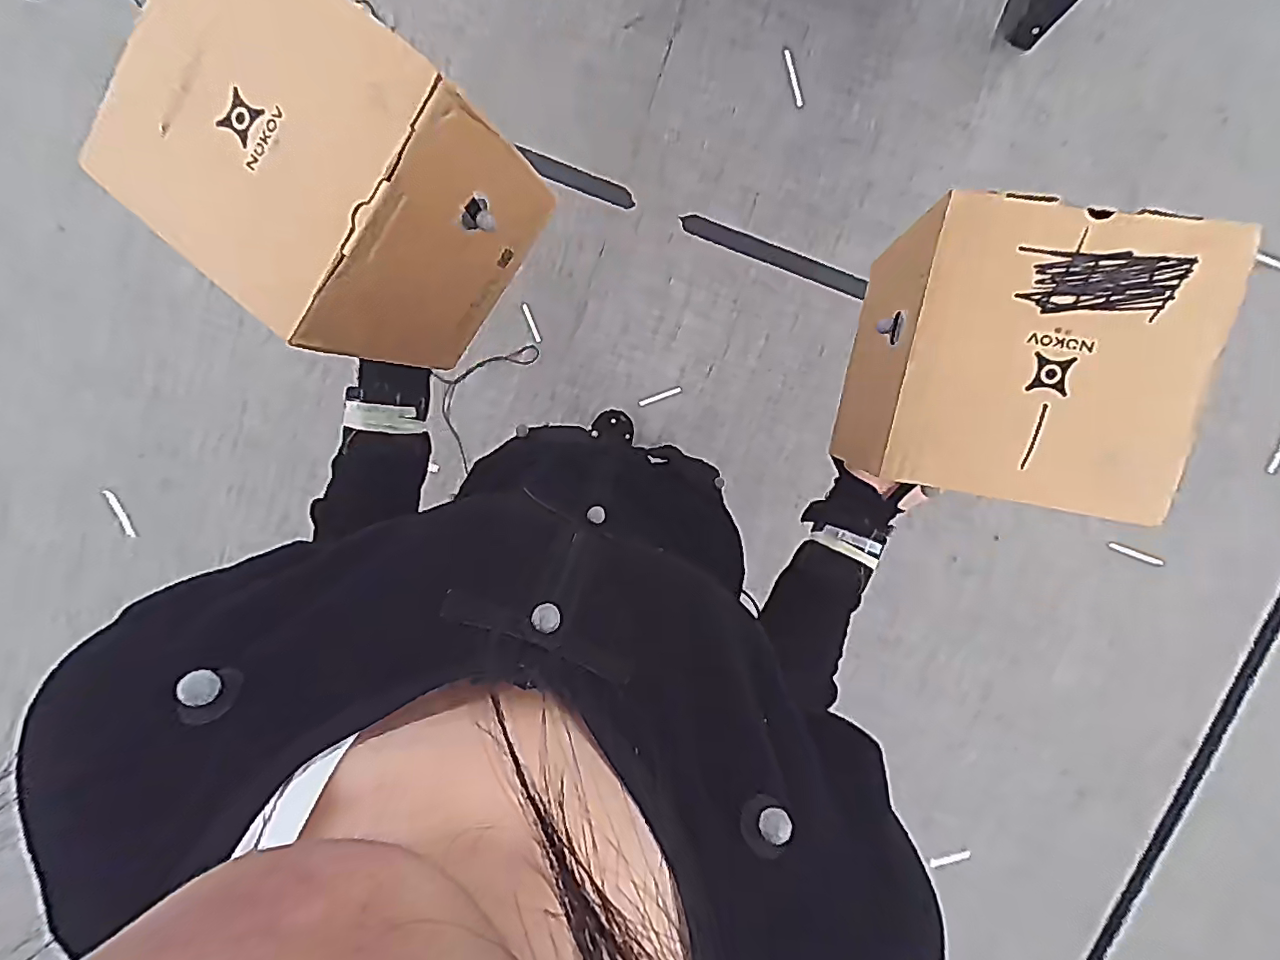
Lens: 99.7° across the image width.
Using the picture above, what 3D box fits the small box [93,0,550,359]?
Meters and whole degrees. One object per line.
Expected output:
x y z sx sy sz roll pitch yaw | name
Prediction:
-0.191 -0.199 0.371 0.179 0.176 0.168 39 102 6 | small box

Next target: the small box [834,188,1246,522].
0.256 -0.084 0.402 0.168 0.176 0.179 11 100 7 | small box
